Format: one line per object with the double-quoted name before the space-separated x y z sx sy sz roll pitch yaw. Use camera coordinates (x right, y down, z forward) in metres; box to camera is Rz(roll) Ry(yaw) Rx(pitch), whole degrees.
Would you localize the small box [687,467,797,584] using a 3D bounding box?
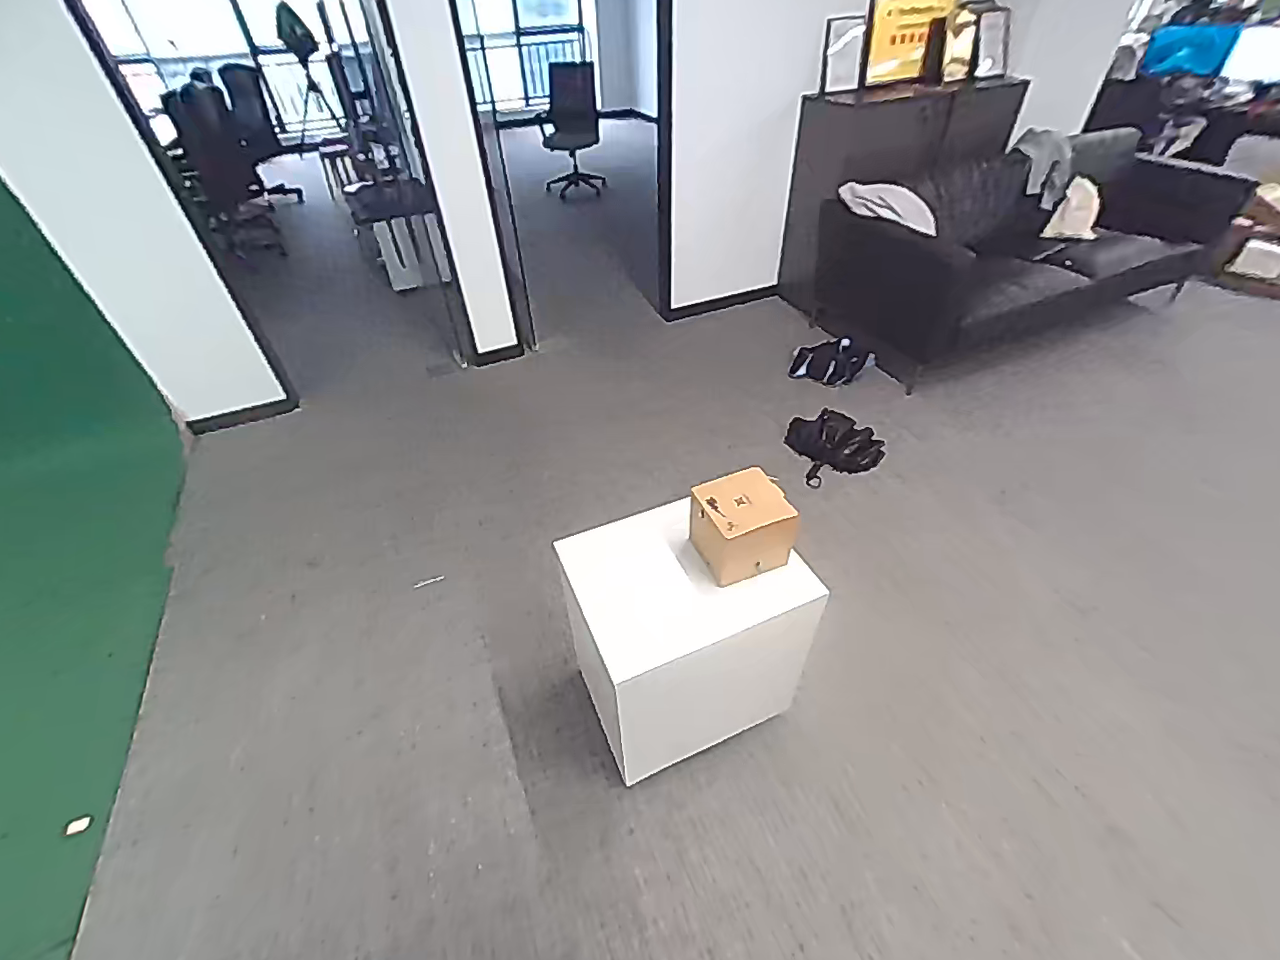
"small box" 0.218 0.102 1.204 0.179 0.176 0.168 -16 45 -16
